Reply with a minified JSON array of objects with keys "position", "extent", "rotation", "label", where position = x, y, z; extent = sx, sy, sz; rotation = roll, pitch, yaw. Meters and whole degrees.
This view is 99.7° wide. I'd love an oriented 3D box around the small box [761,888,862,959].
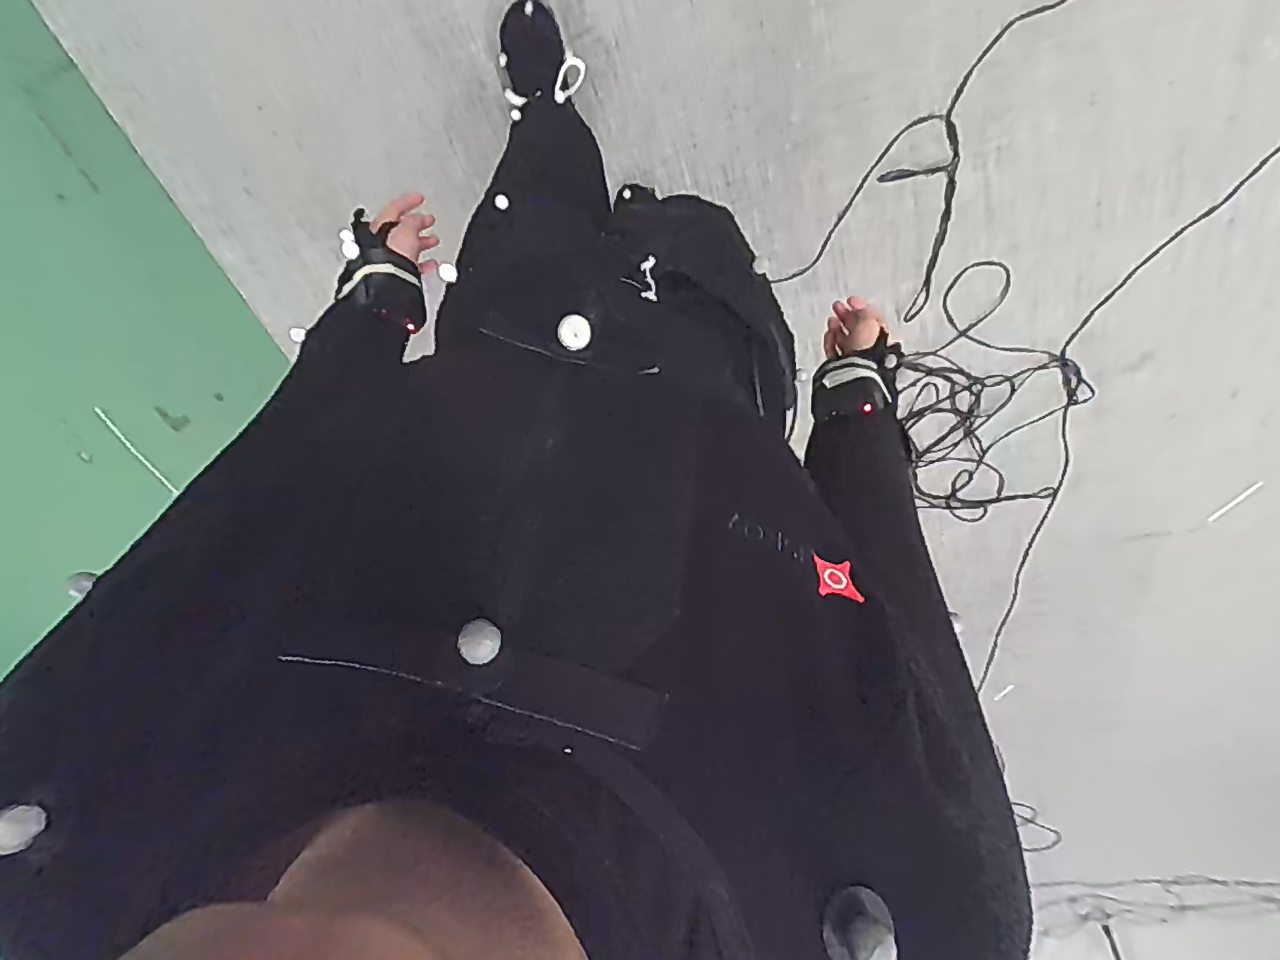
[{"position":[0.366,0.989,1.143],"extent":[0.168,0.176,0.179],"rotation":[-20,121,19],"label":"small box"}]
